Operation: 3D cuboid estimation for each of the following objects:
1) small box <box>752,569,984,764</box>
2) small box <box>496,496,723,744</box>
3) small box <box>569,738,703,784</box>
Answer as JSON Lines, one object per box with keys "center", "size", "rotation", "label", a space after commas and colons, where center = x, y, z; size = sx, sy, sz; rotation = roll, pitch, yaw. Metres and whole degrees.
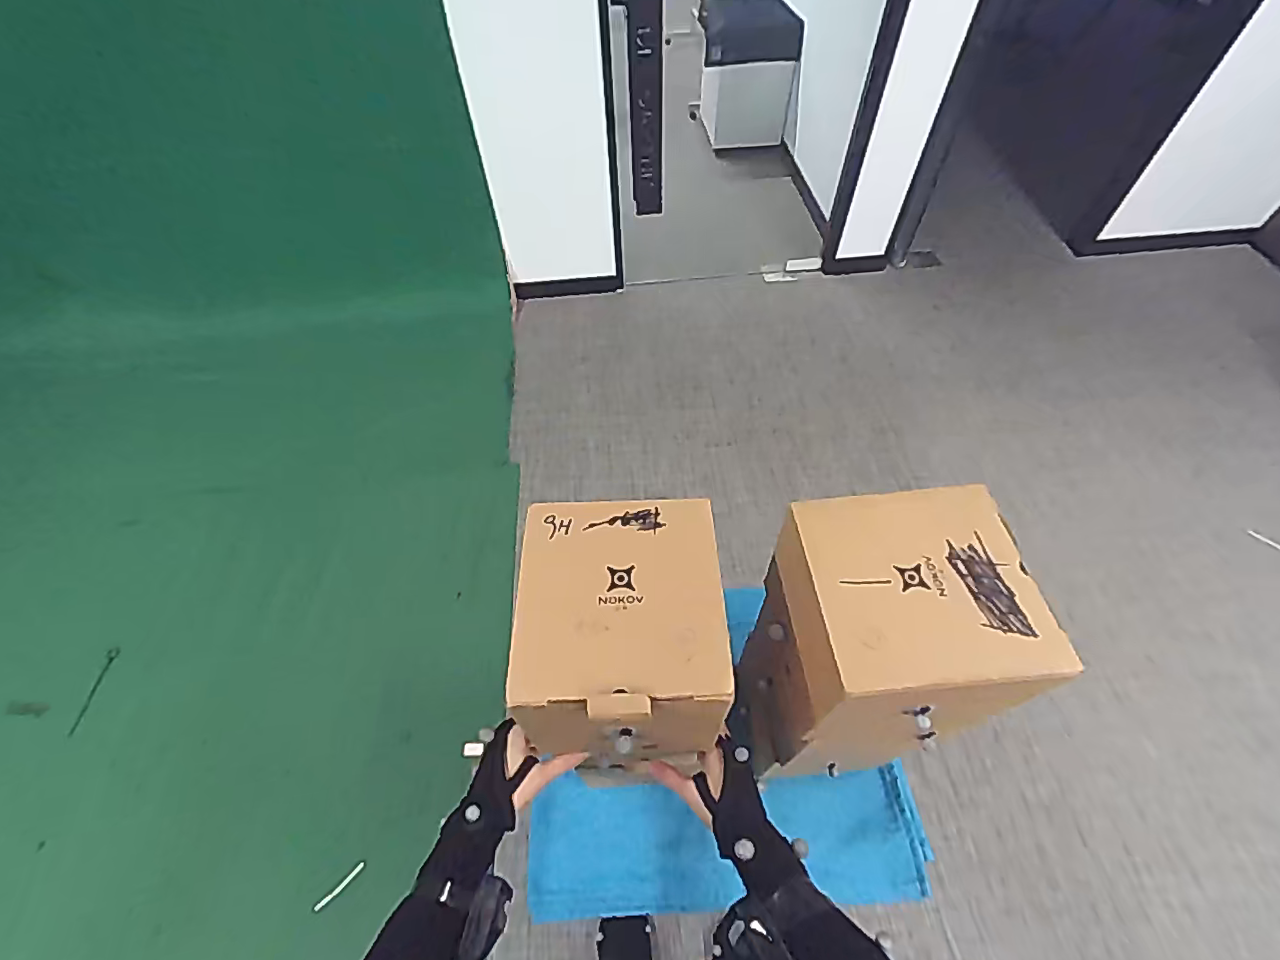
{"center": [0.239, 0.218, 0.621], "size": [0.179, 0.176, 0.168], "rotation": [-5, 54, -1], "label": "small box"}
{"center": [-0.019, 0.132, 0.492], "size": [0.168, 0.176, 0.179], "rotation": [0, 53, 0], "label": "small box"}
{"center": [-0.004, 0.320, 0.759], "size": [0.168, 0.176, 0.179], "rotation": [-1, 53, -1], "label": "small box"}
